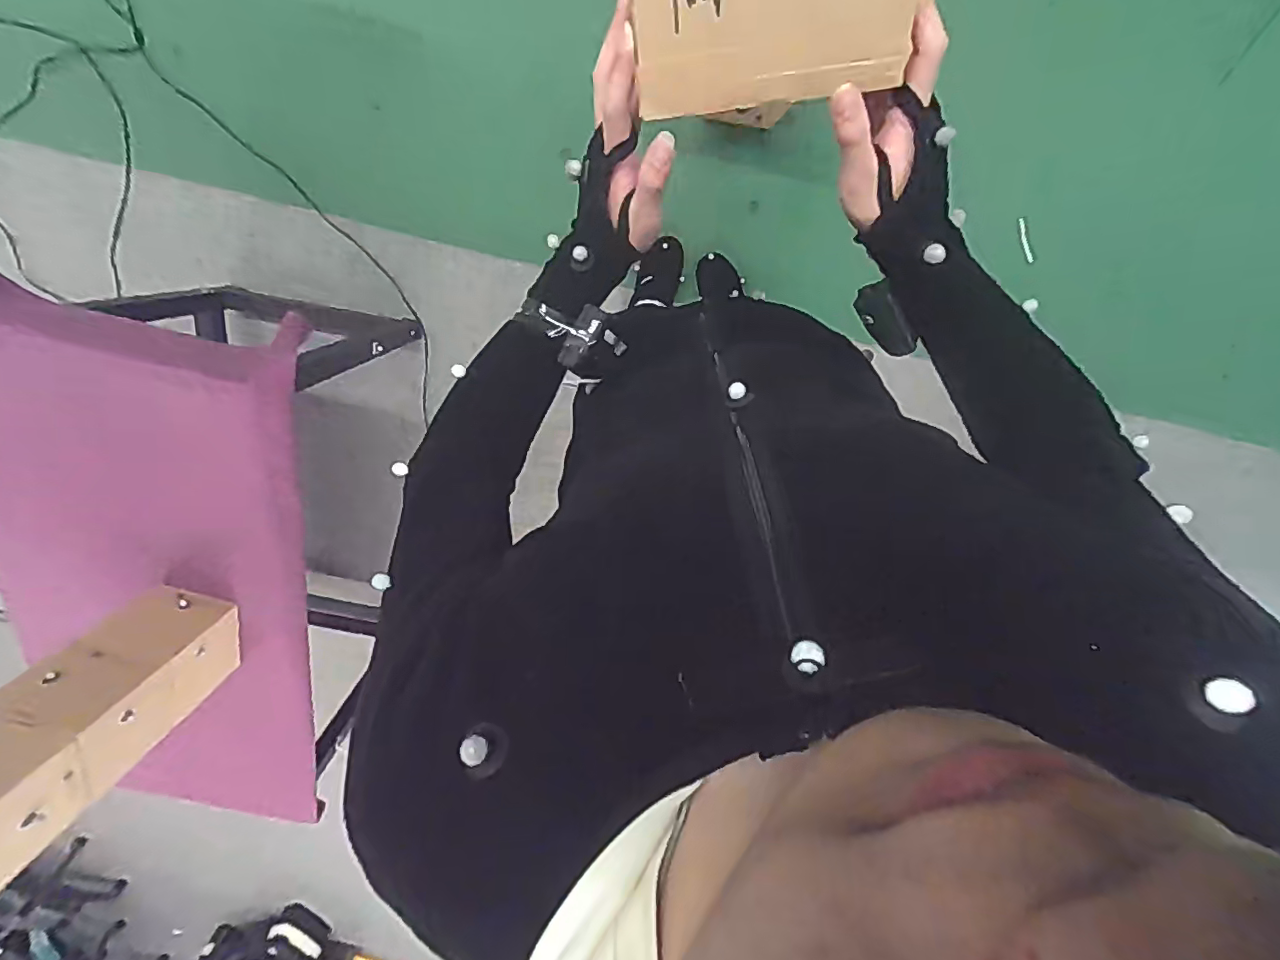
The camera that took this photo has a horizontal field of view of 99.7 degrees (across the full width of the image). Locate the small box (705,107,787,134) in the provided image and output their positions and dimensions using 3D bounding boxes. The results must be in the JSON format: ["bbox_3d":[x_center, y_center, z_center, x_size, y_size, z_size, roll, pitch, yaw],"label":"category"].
[{"bbox_3d":[0.249,-0.897,1.218,0.179,0.176,0.168,10,114,0],"label":"small box"}]

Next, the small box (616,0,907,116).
[{"bbox_3d":[0.073,-0.369,0.361,0.179,0.176,0.168,-4,137,7],"label":"small box"}]

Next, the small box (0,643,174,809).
[{"bbox_3d":[-0.949,0.411,0.923,0.168,0.176,0.179,17,114,-2],"label":"small box"}]

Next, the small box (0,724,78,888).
[{"bbox_3d":[-0.968,0.474,0.774,0.179,0.176,0.168,17,113,-2],"label":"small box"}]

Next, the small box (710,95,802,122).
[{"bbox_3d":[0.238,-0.830,1.070,0.179,0.176,0.168,11,114,0],"label":"small box"}]
